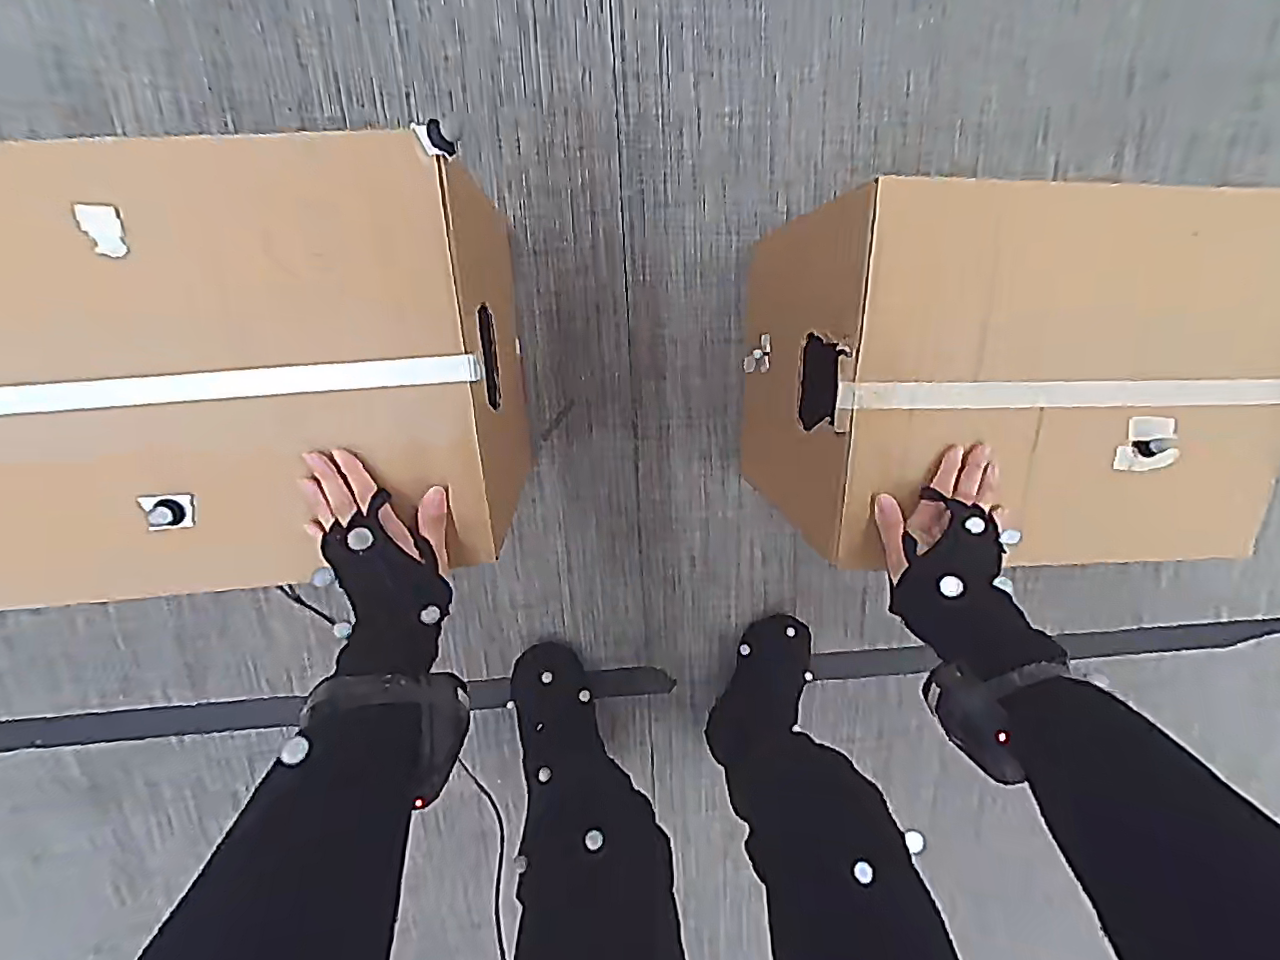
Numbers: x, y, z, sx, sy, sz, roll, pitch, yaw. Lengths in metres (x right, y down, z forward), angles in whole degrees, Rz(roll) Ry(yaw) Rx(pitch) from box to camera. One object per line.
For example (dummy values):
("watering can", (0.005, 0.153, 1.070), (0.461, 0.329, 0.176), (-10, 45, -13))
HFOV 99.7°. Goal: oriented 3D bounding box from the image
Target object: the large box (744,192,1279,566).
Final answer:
("large box", (0.355, -0.114, 0.610), (0.408, 0.320, 0.320), (-1, 106, -6))
